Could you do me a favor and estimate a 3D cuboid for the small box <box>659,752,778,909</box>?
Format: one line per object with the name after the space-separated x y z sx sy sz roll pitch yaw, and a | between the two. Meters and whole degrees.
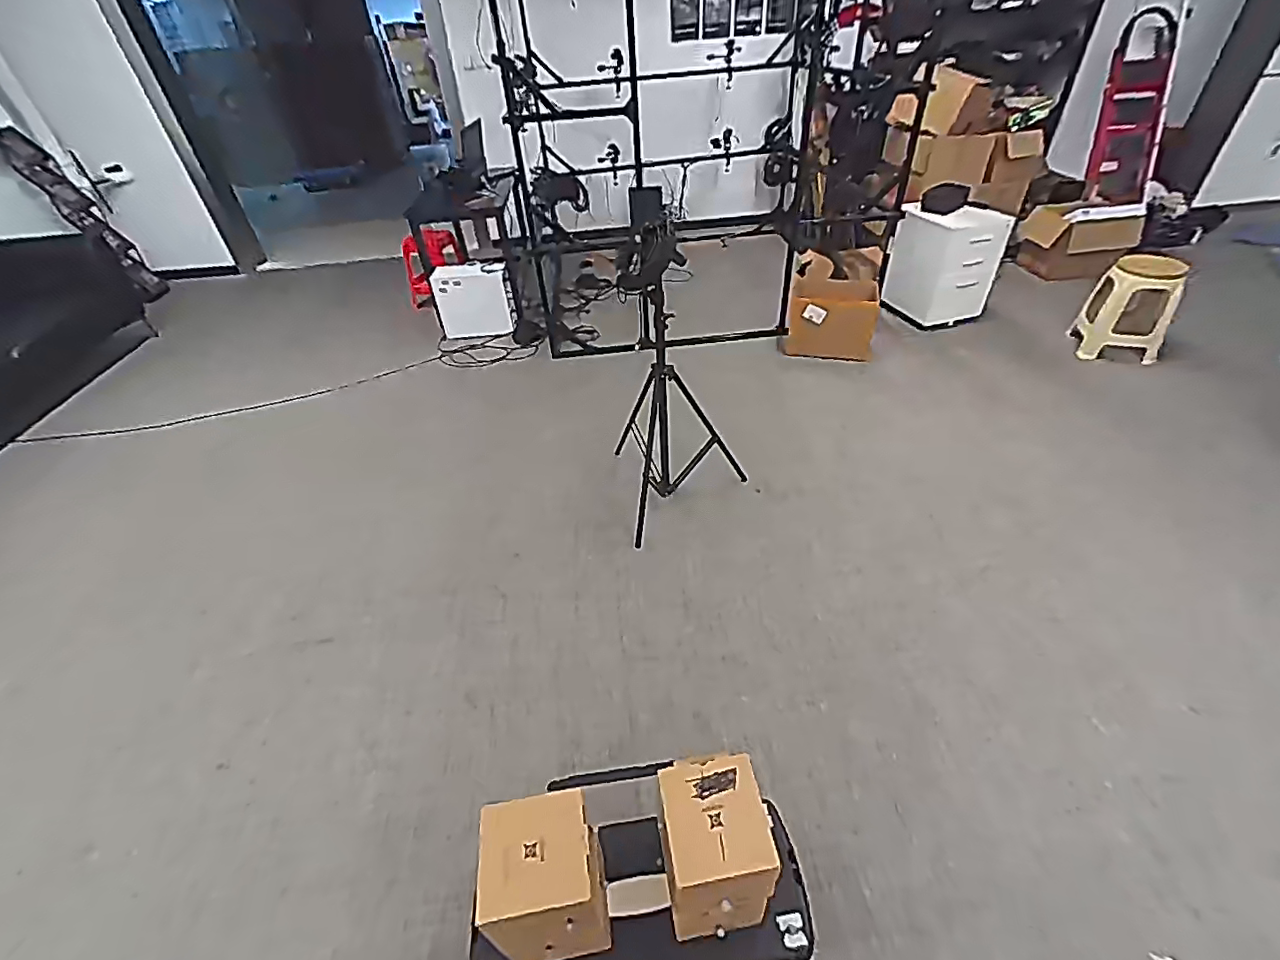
0.128 0.613 0.948 0.168 0.176 0.179 -9 41 -4 | small box

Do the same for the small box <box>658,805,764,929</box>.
0.130 0.742 1.050 0.168 0.176 0.179 -9 40 -4 | small box

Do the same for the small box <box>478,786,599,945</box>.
-0.167 0.657 0.924 0.179 0.176 0.168 -9 39 -6 | small box

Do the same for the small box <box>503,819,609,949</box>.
-0.157 0.782 1.030 0.179 0.176 0.168 -9 40 -5 | small box
